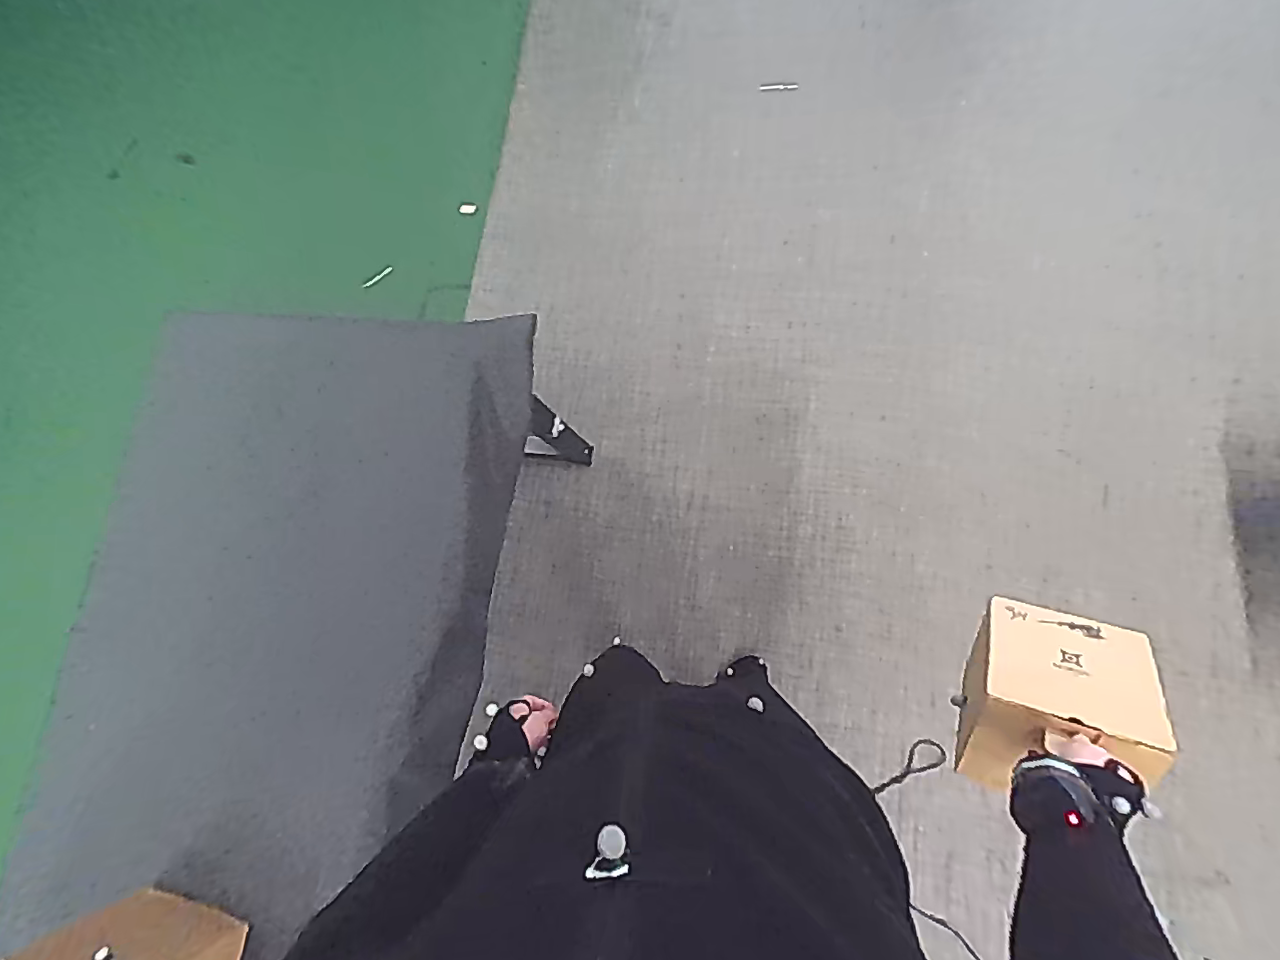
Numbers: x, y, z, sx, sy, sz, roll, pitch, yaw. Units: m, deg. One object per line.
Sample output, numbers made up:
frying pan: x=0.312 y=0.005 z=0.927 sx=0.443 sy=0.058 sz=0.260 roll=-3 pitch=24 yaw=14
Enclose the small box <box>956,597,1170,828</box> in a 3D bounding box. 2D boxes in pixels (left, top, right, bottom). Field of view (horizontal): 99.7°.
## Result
small box: x=0.510 y=0.285 z=0.676 sx=0.168 sy=0.176 sz=0.179 roll=14 pitch=38 yaw=28
